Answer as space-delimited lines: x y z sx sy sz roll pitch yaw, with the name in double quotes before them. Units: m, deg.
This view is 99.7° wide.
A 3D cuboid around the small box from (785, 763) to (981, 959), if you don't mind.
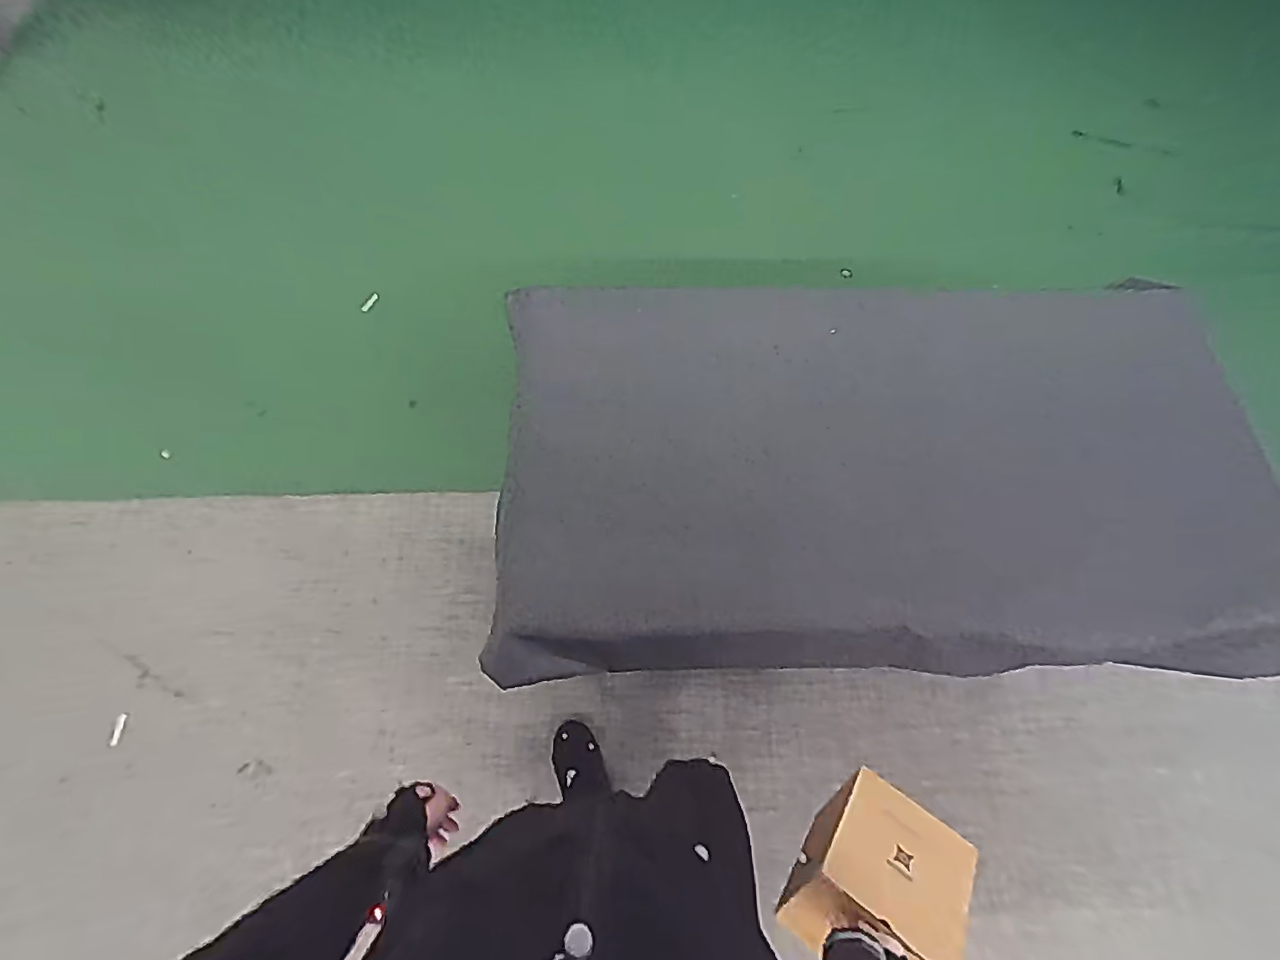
"small box" 0.318 0.538 0.730 0.168 0.176 0.179 33 41 22
